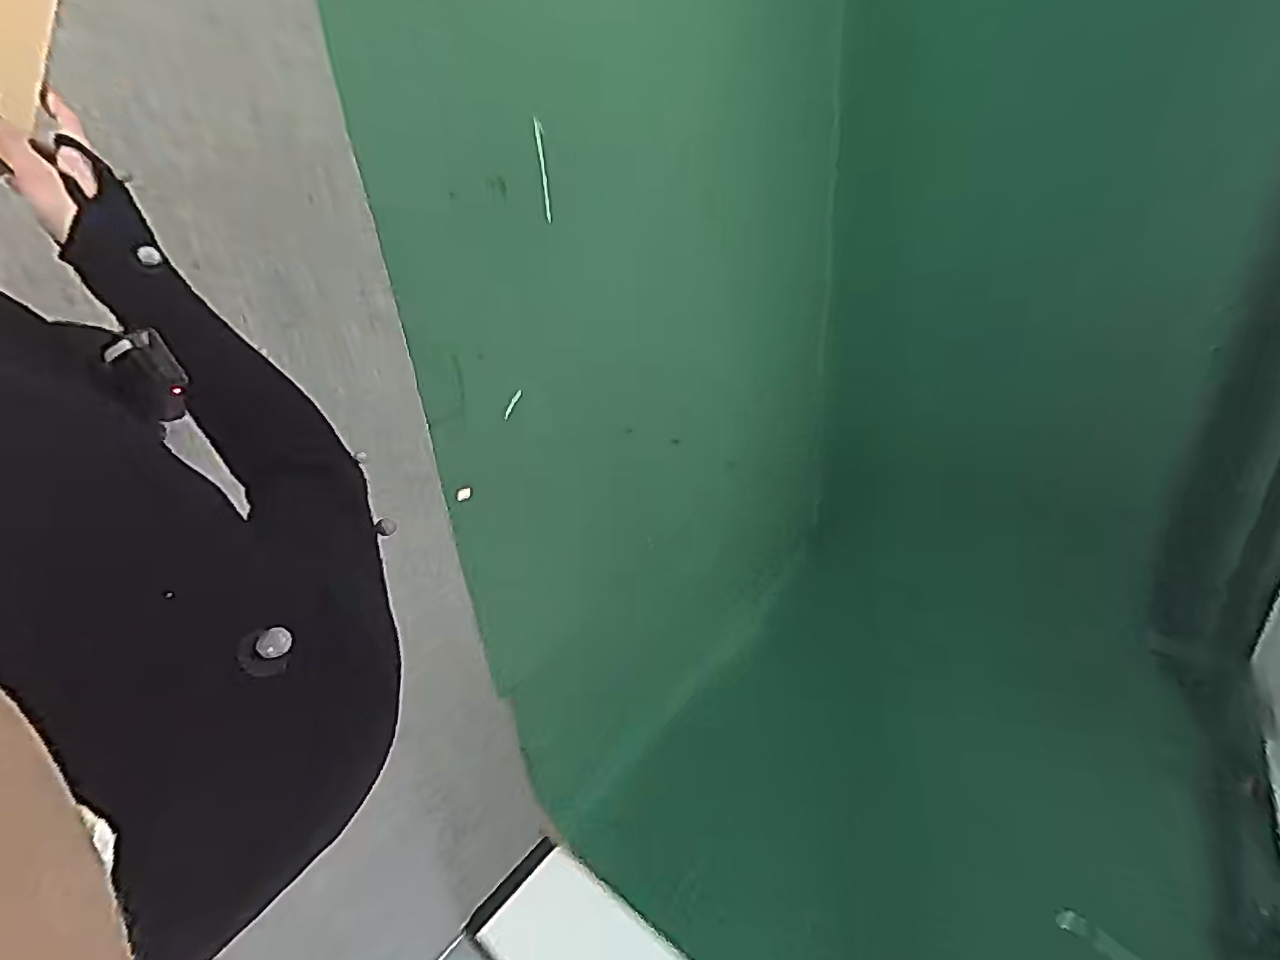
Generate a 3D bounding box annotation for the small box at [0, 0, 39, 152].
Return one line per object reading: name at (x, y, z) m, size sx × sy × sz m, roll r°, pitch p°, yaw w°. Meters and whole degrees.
small box at (-0.597, -0.369, 0.403) m, size 0.168 × 0.176 × 0.179 m, roll 9°, pitch 88°, yaw -59°

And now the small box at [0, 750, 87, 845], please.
small box at (-1.149, 0.623, 0.973) m, size 0.168 × 0.176 × 0.179 m, roll -23°, pitch 120°, yaw -47°

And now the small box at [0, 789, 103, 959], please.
small box at (-1.021, 0.652, 0.874) m, size 0.168 × 0.176 × 0.179 m, roll -26°, pitch 121°, yaw -47°
